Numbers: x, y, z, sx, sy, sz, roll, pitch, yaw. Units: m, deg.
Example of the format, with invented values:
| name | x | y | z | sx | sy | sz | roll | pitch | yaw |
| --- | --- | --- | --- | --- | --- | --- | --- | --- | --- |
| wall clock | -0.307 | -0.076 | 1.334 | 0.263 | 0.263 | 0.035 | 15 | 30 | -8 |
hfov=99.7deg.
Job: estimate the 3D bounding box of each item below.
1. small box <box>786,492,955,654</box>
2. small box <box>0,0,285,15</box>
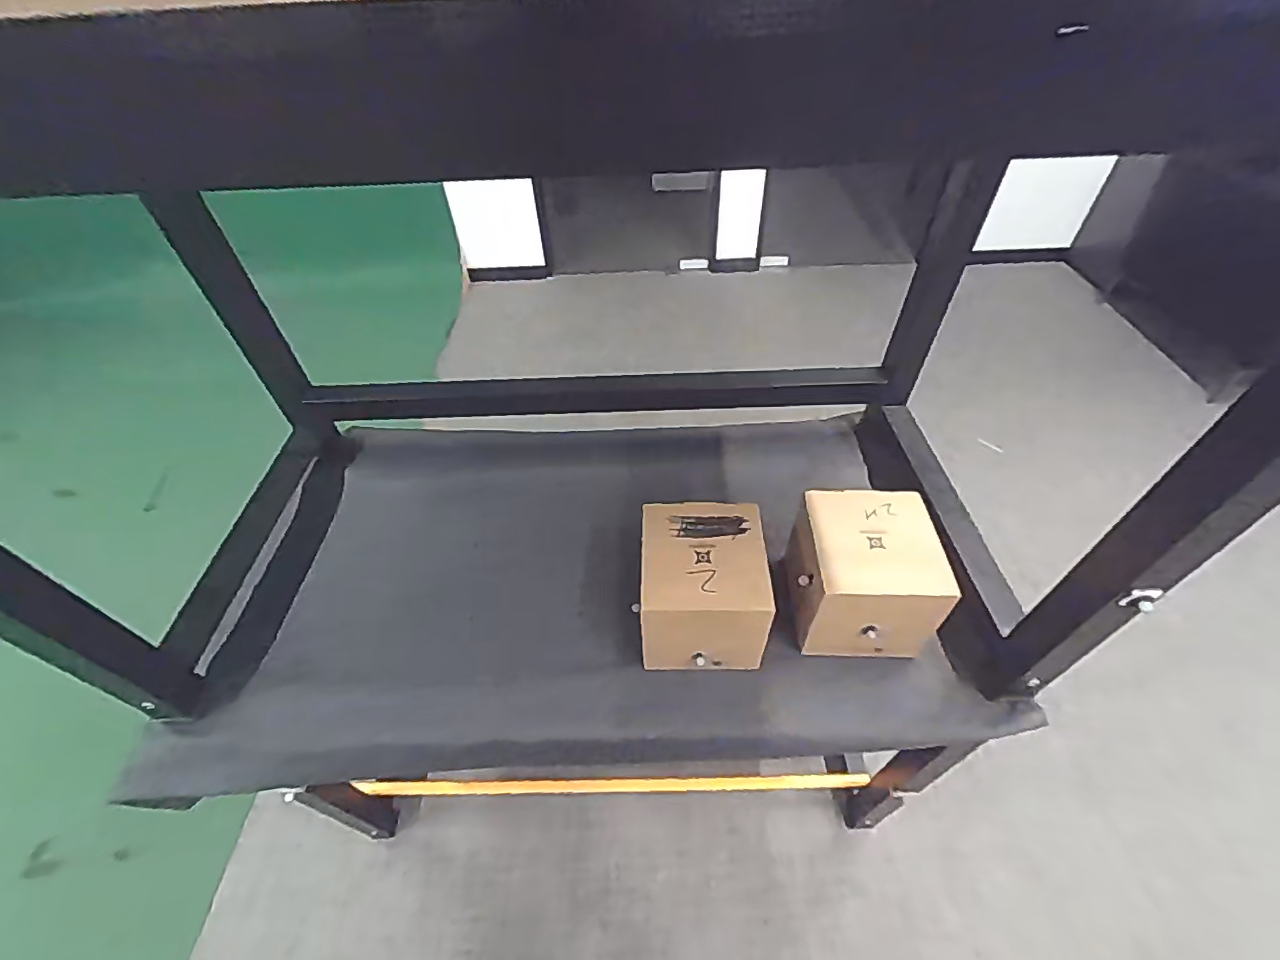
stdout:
| name | x | y | z | sx | sy | sz | roll | pitch | yaw |
| --- | --- | --- | --- | --- | --- | --- | --- | --- | --- |
| small box | 0.315 | 0.136 | 0.781 | 0.168 | 0.176 | 0.179 | 1 | 46 | 3 |
| small box | -0.261 | -0.343 | 0.262 | 0.168 | 0.176 | 0.179 | 0 | 46 | 3 |
